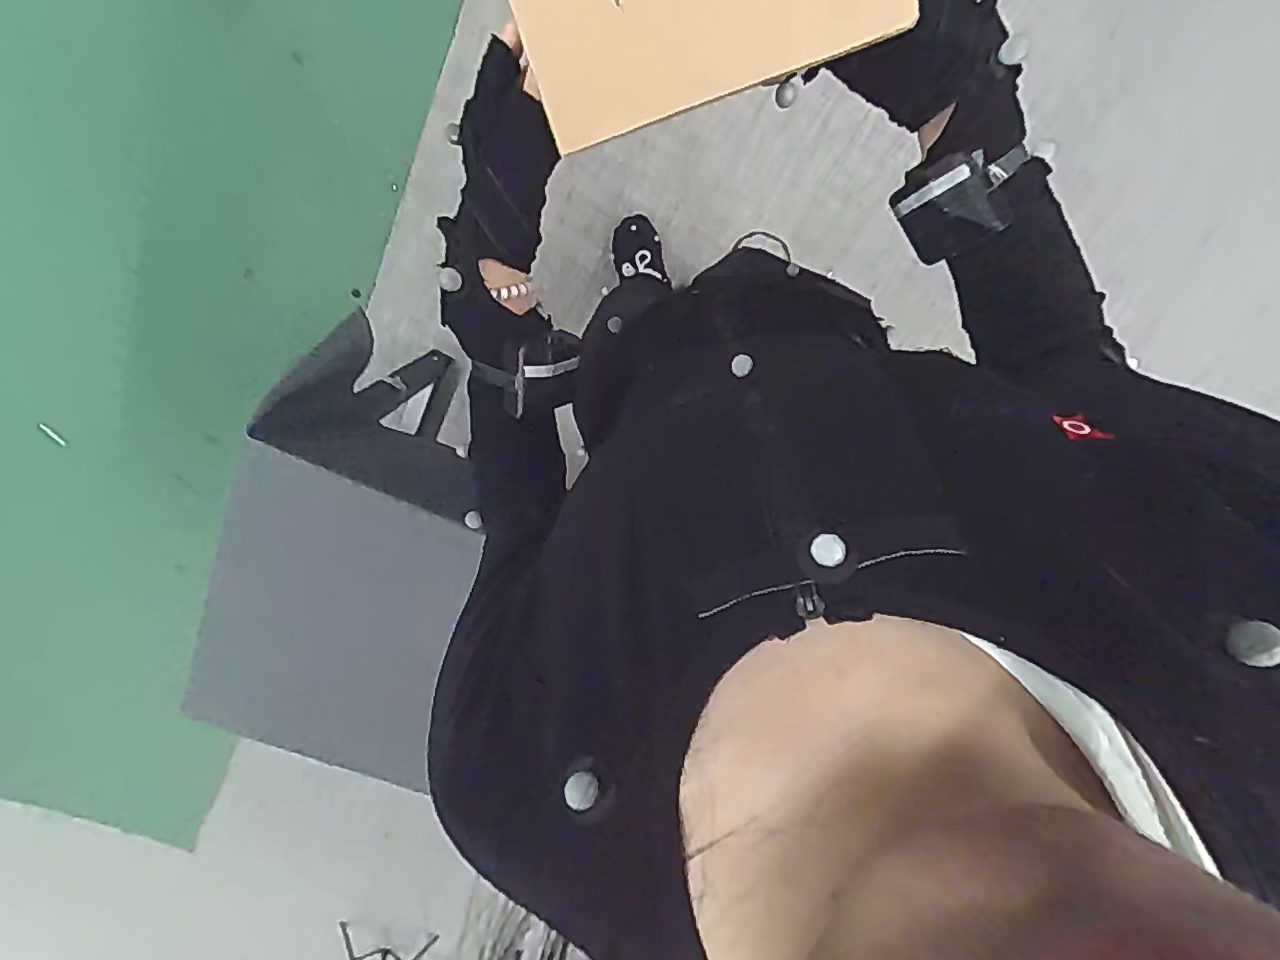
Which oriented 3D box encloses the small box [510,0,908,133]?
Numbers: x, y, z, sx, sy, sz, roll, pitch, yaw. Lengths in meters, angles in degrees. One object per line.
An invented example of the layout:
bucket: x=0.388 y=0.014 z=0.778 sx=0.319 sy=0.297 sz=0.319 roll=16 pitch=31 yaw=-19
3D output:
small box: x=0.014 y=-0.298 z=0.278 sx=0.179 sy=0.176 sz=0.168 roll=-15 pitch=121 yaw=7
